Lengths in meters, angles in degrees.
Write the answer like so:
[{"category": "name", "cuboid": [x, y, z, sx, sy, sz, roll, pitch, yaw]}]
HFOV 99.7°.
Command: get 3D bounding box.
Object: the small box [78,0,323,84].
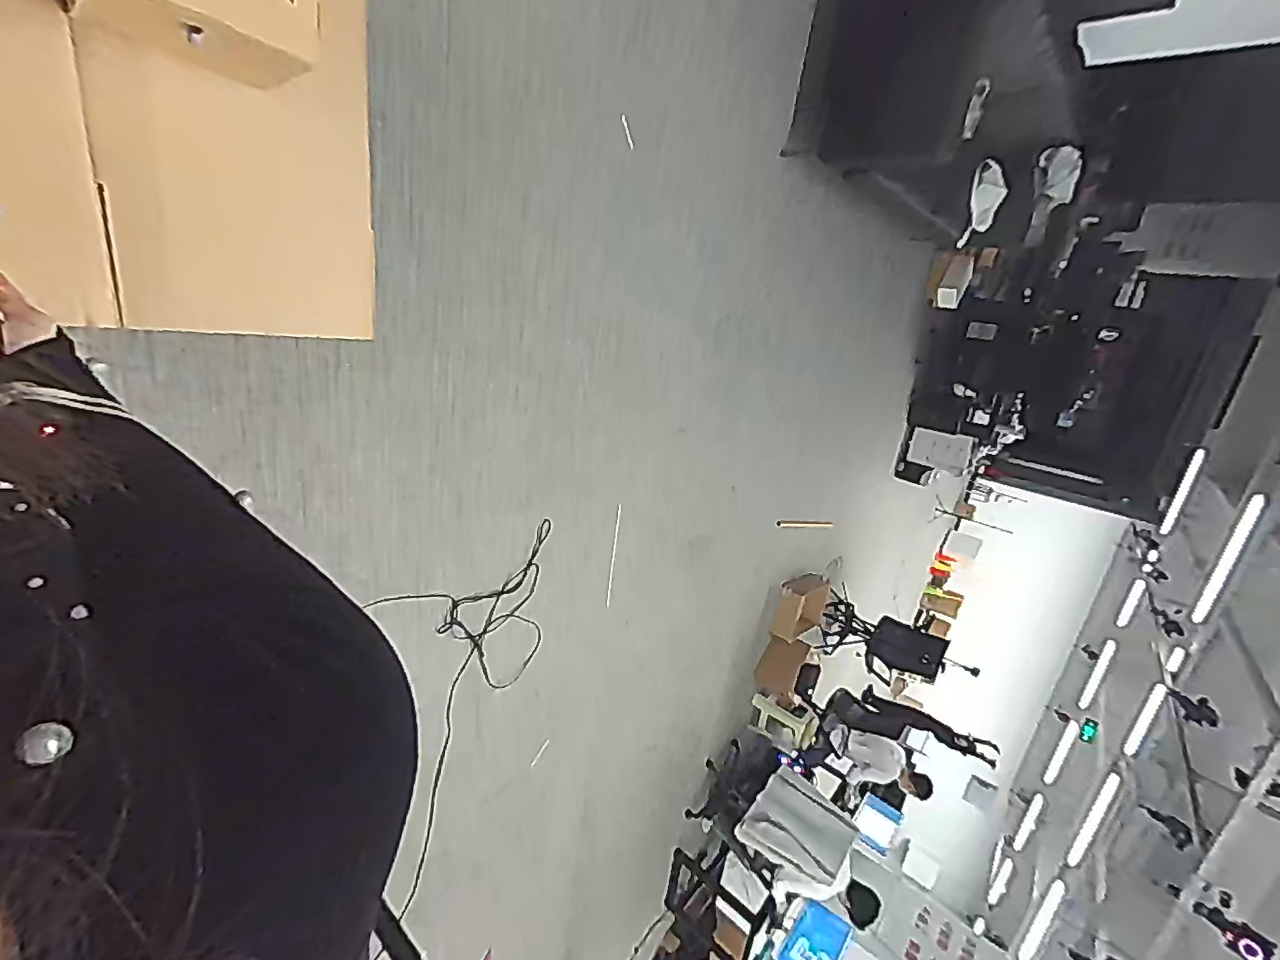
[{"category": "small box", "cuboid": [-0.437, -0.525, 0.534, 0.179, 0.176, 0.168, -9, 114, -48]}]
